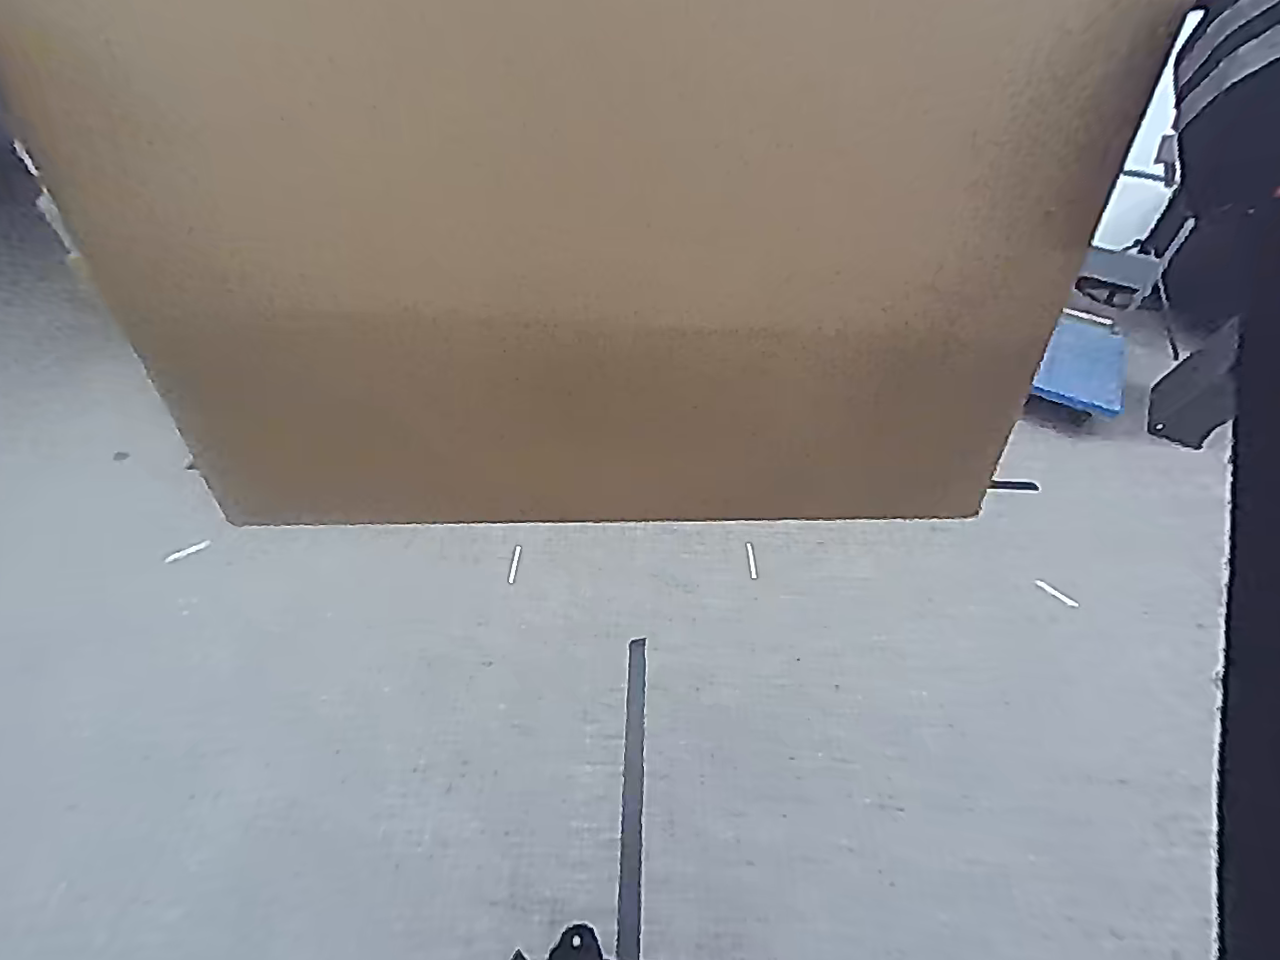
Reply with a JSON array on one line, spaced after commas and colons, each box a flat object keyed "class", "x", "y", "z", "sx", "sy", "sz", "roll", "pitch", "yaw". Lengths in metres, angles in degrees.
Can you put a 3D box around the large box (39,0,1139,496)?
[{"class": "large box", "x": -0.020, "y": -0.197, "z": 0.351, "sx": 0.408, "sy": 0.320, "sz": 0.320, "roll": 0, "pitch": 34, "yaw": -1}]
